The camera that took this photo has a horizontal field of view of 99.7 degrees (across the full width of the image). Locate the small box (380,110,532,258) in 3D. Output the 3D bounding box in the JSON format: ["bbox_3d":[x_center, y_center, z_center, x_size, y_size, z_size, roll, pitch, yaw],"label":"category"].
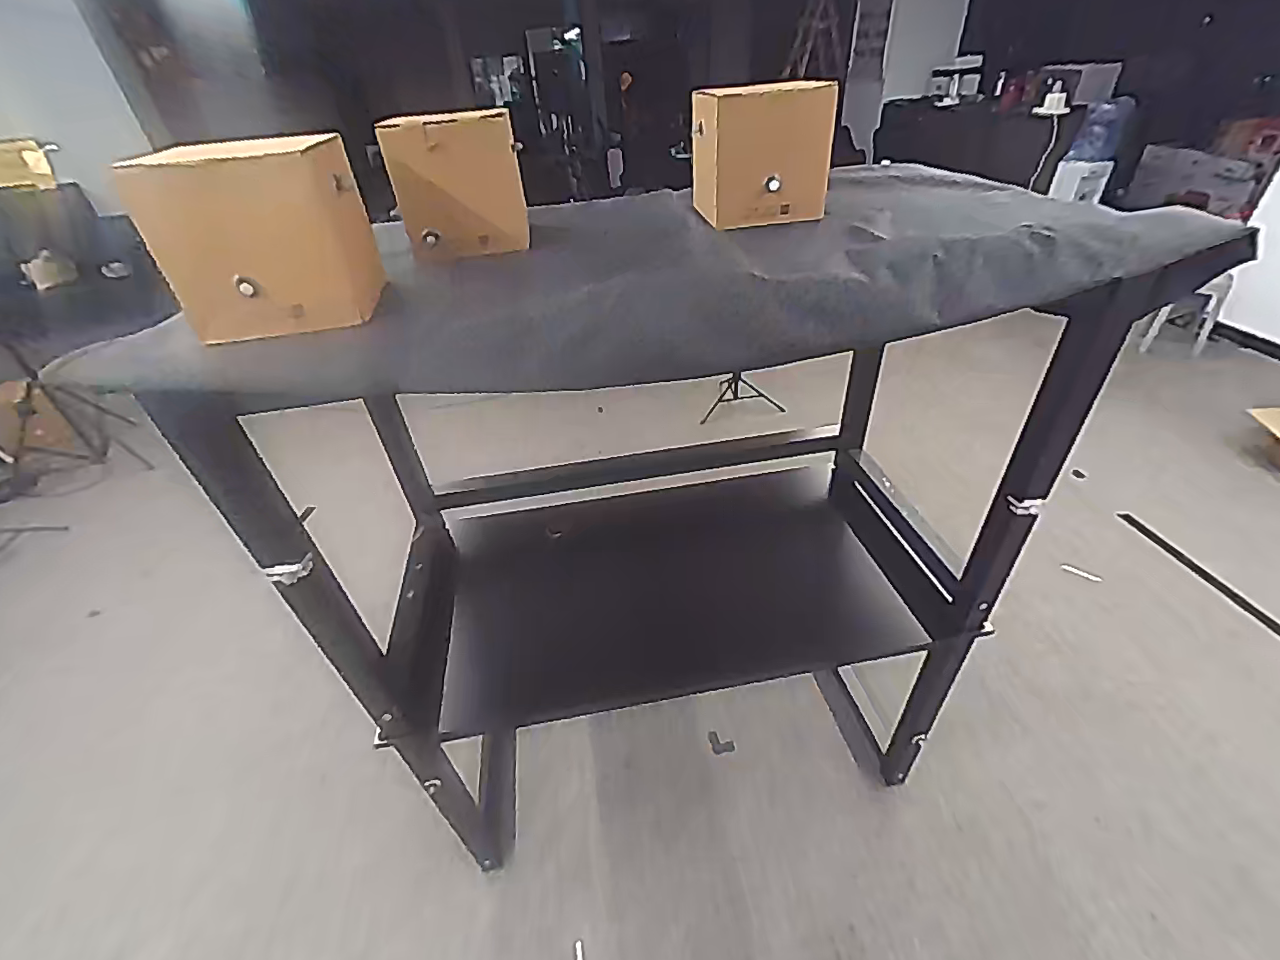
[{"bbox_3d":[-0.259,-0.439,0.808,0.168,0.176,0.179,-8,37,-5],"label":"small box"}]

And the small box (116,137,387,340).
[{"bbox_3d":[-0.398,-0.271,0.600,0.168,0.176,0.179,-11,38,-8],"label":"small box"}]

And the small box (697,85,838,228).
[{"bbox_3d":[0.181,-0.497,0.831,0.168,0.176,0.179,-8,37,-2],"label":"small box"}]
